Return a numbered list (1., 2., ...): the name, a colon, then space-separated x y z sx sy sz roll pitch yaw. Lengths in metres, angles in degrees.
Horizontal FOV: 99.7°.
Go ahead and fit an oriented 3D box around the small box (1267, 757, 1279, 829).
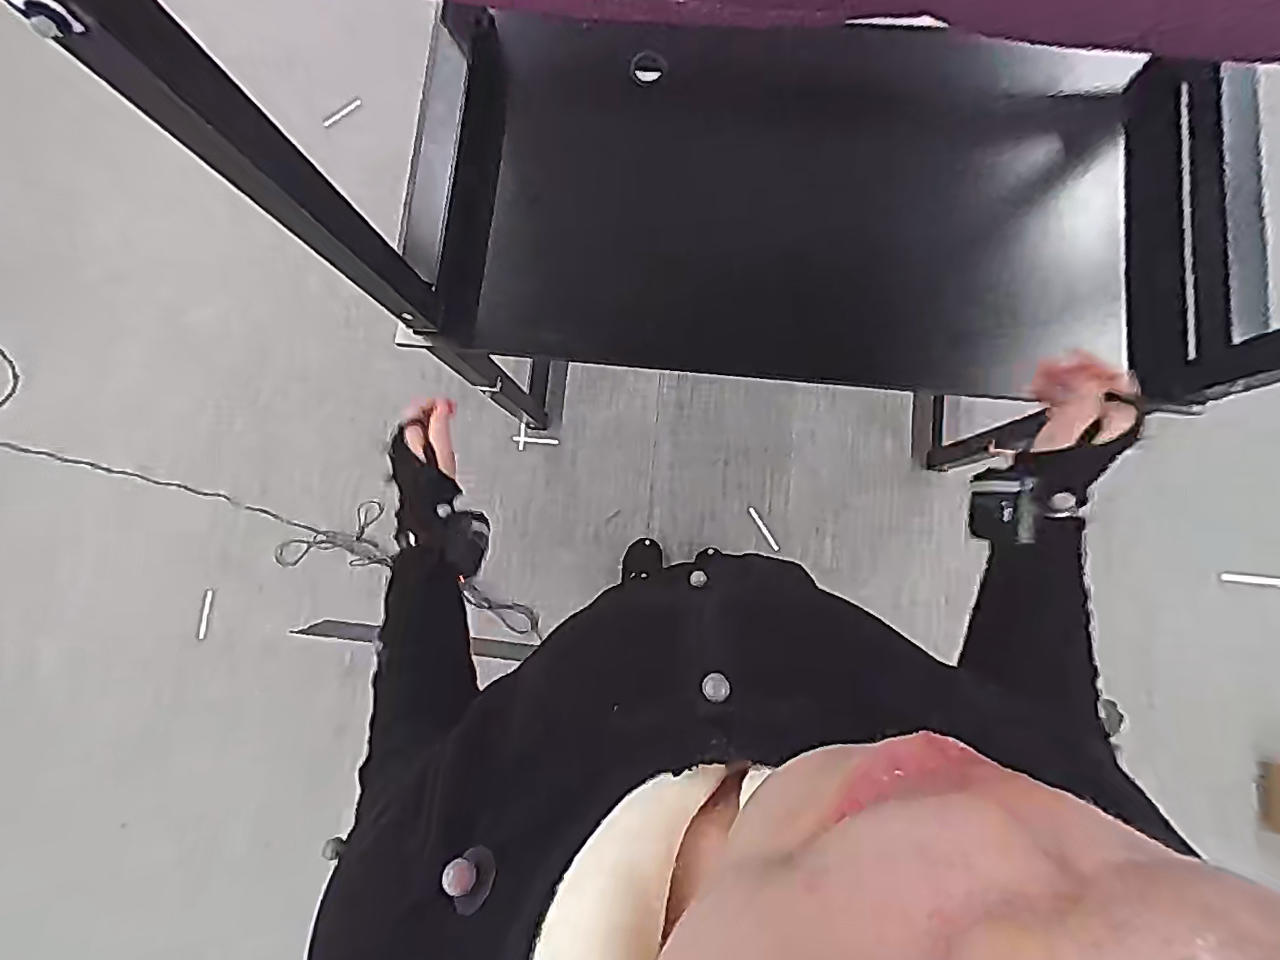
1. small box: 1.646 0.782 1.269 0.168 0.176 0.179 4 84 4
